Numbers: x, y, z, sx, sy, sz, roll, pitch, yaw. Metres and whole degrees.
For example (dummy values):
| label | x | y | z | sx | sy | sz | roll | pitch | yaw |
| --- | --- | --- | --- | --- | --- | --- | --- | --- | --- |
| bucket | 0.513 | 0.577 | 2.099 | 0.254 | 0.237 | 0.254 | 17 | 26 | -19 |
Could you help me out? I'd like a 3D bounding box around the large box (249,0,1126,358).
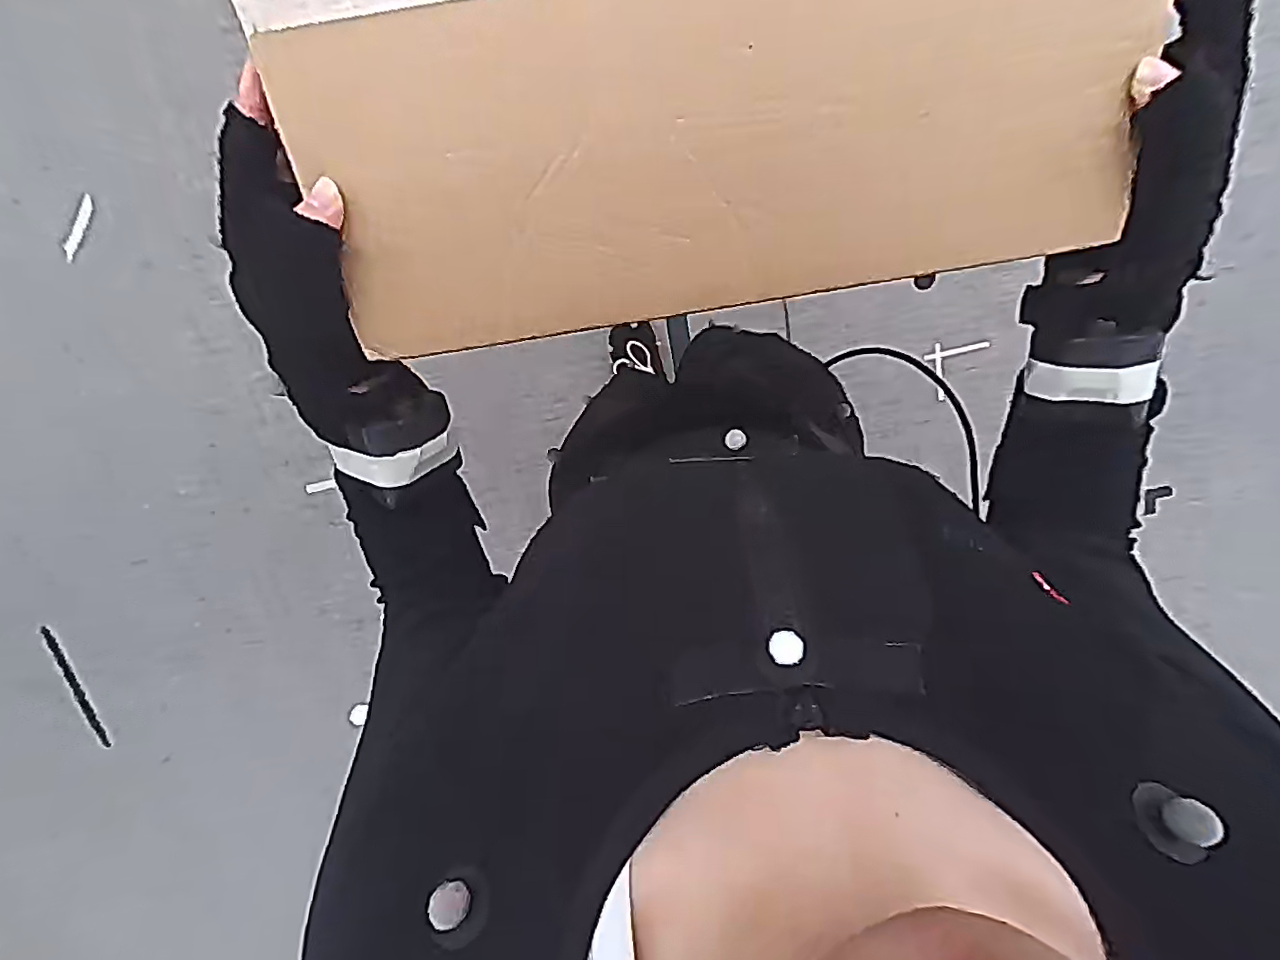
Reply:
| label | x | y | z | sx | sy | sz | roll | pitch | yaw |
| --- | --- | --- | --- | --- | --- | --- | --- | --- | --- |
| large box | 0.019 | -0.300 | 0.370 | 0.408 | 0.320 | 0.320 | -9 | 114 | 2 |
